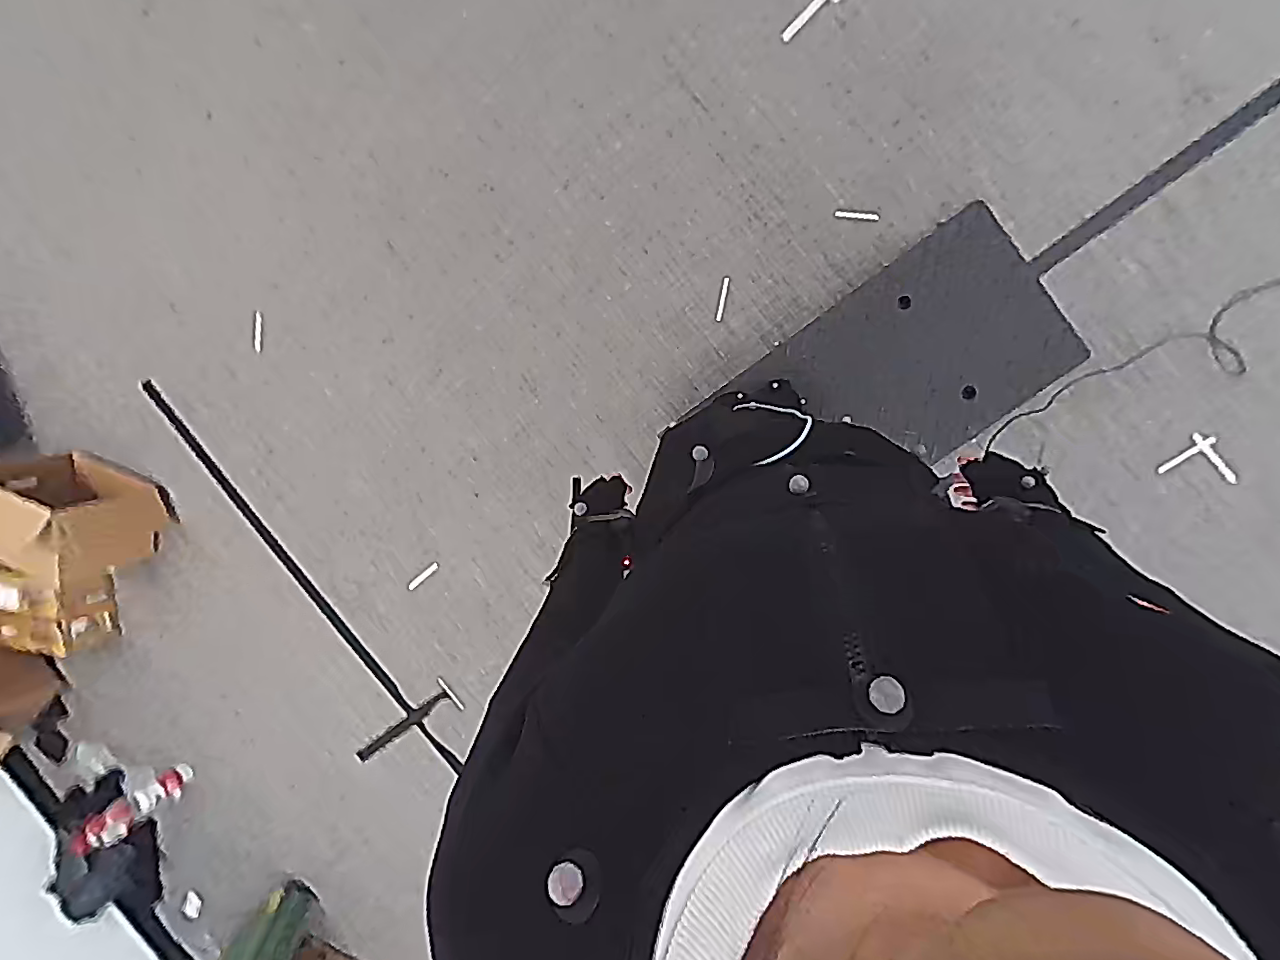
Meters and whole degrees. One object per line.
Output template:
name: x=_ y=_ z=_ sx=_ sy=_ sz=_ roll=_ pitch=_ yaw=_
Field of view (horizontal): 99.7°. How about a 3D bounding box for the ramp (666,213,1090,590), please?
ramp: x=0.601 y=-0.196 z=1.415 sx=0.991 sy=0.206 sz=0.509 roll=-40 pitch=88 yaw=15
